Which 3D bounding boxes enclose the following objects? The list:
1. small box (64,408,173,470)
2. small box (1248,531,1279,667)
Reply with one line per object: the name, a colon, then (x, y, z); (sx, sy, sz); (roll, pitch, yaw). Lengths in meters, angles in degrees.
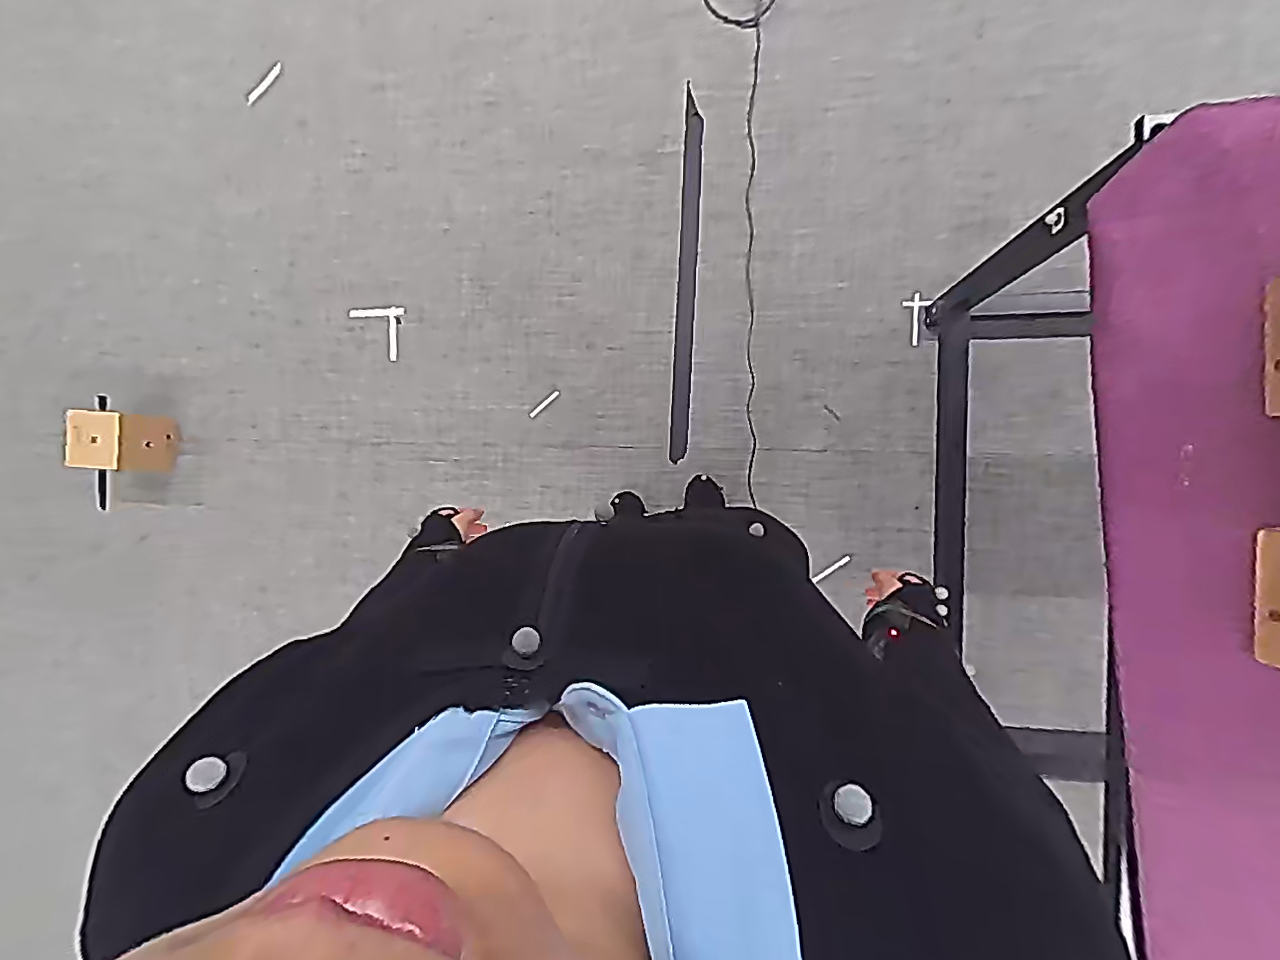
small box: (-1.552, -0.120, 1.617); (0.179, 0.176, 0.168); (4, 91, 7)
small box: (0.841, 0.146, 0.585); (0.179, 0.176, 0.168); (1, 91, 7)
